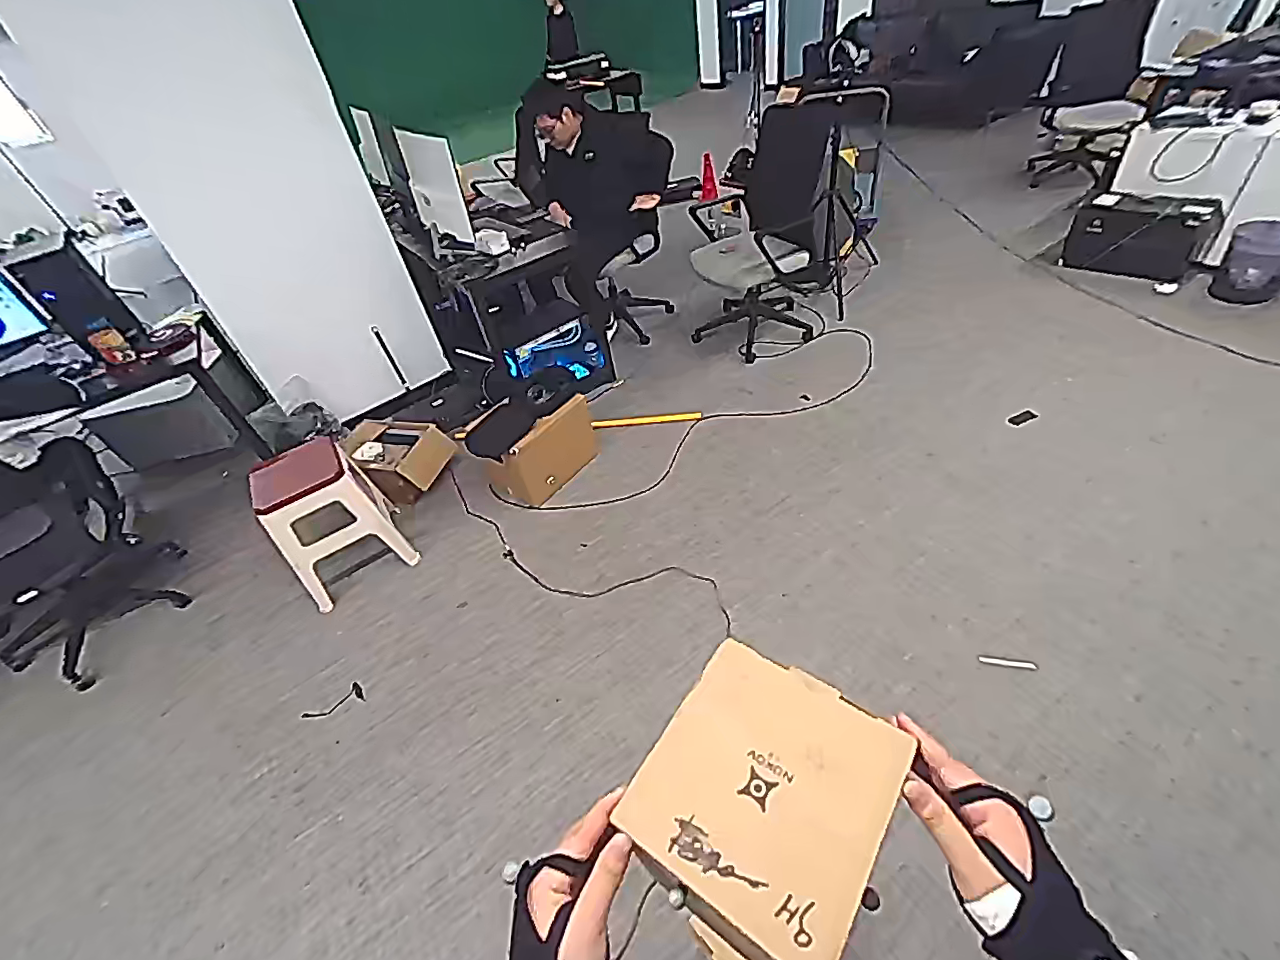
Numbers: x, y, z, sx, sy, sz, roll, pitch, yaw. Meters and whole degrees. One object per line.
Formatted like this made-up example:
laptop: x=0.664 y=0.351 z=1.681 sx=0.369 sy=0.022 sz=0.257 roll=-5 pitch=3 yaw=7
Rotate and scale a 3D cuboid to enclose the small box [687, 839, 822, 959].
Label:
small box: x=0.208 y=0.813 z=0.985 sx=0.179 sy=0.176 sz=0.168 roll=-36 pitch=49 yaw=-26
